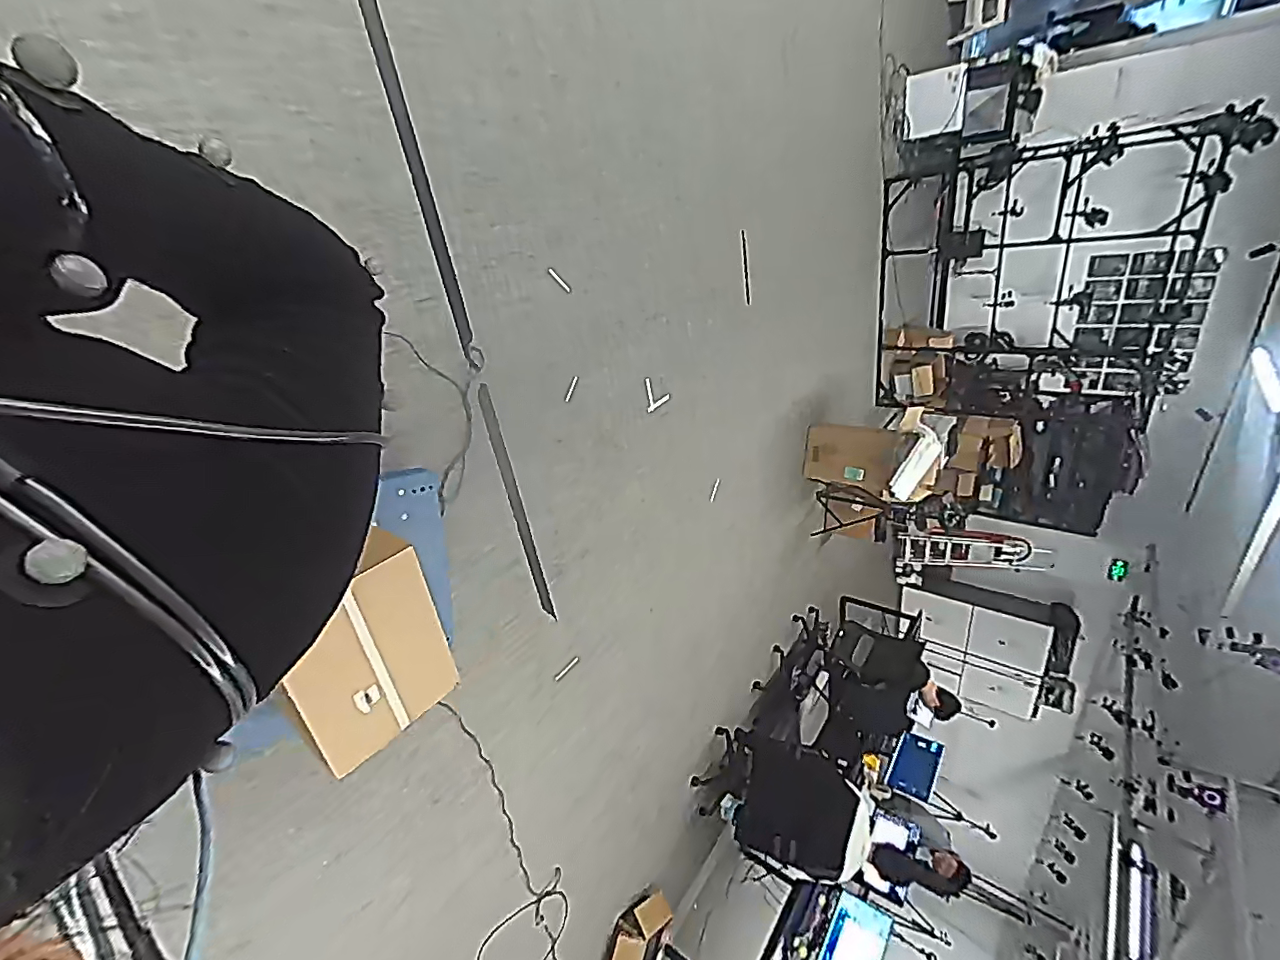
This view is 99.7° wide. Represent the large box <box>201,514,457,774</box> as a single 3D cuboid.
[{"bbox_3d":[-0.679,0.343,1.215,0.320,0.320,0.408,-33,126,-42],"label":"large box"}]
